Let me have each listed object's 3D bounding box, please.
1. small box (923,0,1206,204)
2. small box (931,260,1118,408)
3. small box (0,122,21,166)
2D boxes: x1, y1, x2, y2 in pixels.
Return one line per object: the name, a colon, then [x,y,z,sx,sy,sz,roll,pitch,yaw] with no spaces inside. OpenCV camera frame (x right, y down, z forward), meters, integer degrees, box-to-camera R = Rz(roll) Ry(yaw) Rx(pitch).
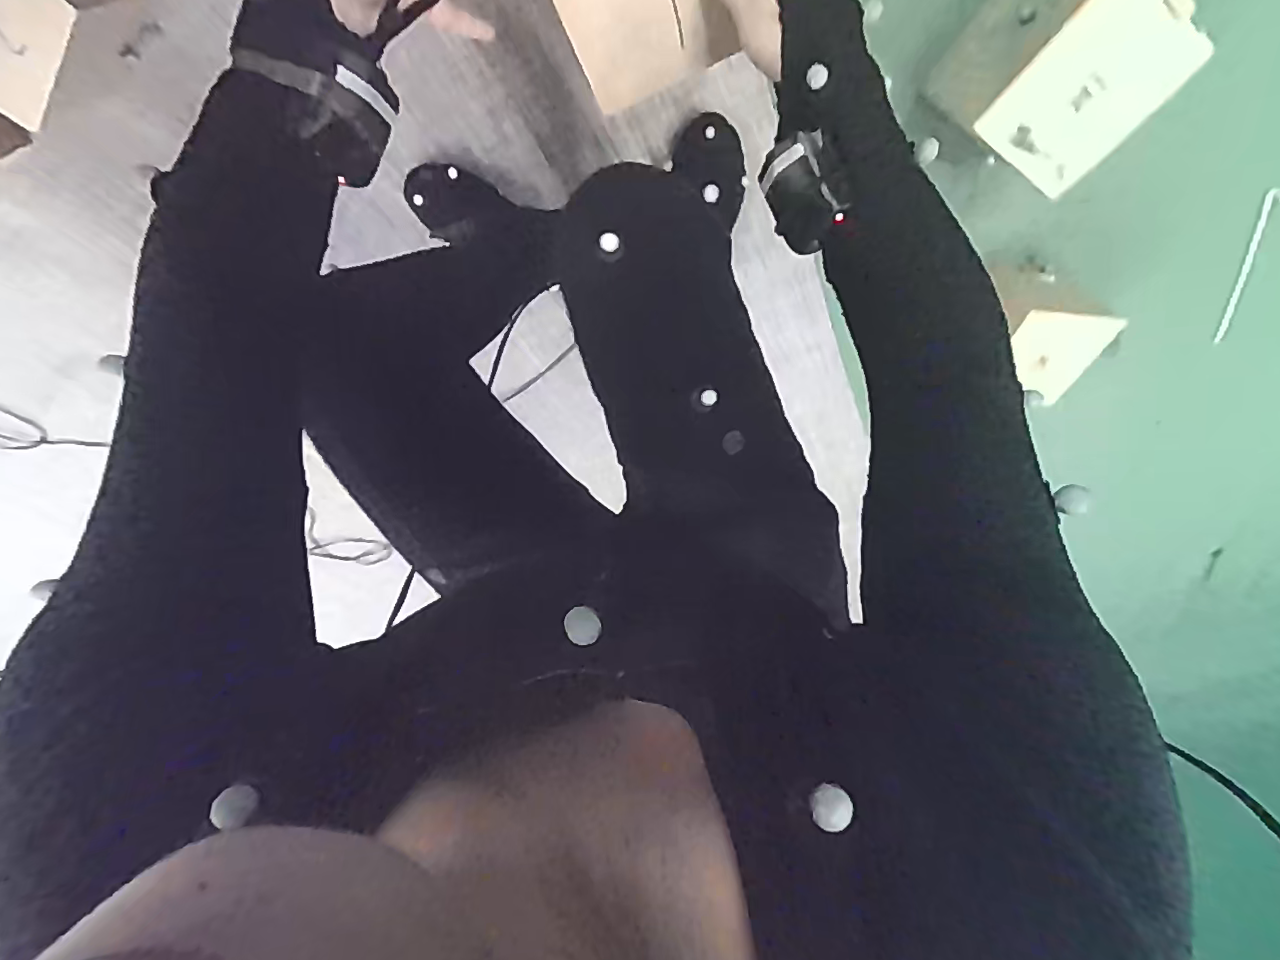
small box: [0.482,-0.479,0.642,0.168,0.176,0.179,19,134,-23]
small box: [0.634,-0.247,0.925,0.168,0.176,0.179,2,139,-7]
small box: [-0.930,-0.422,0.643,0.168,0.176,0.179,-17,137,17]
